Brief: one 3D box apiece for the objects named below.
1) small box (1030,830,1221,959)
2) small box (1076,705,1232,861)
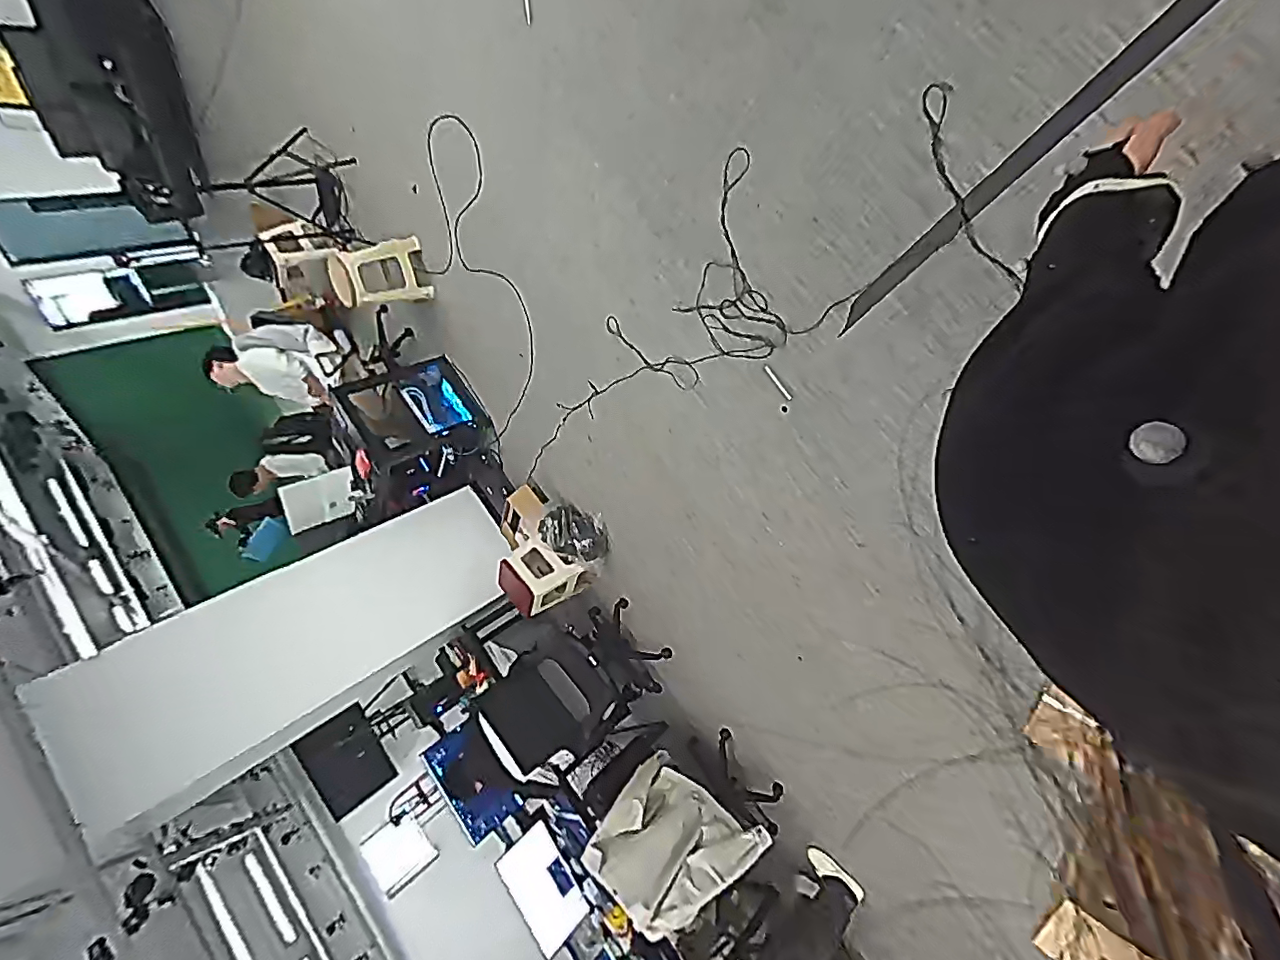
[{"bbox_3d":[0.786,0.717,0.882,0.179,0.176,0.168,26,132,39],"label":"small box"},{"bbox_3d":[1.021,0.590,1.075,0.179,0.176,0.168,26,131,40],"label":"small box"}]
